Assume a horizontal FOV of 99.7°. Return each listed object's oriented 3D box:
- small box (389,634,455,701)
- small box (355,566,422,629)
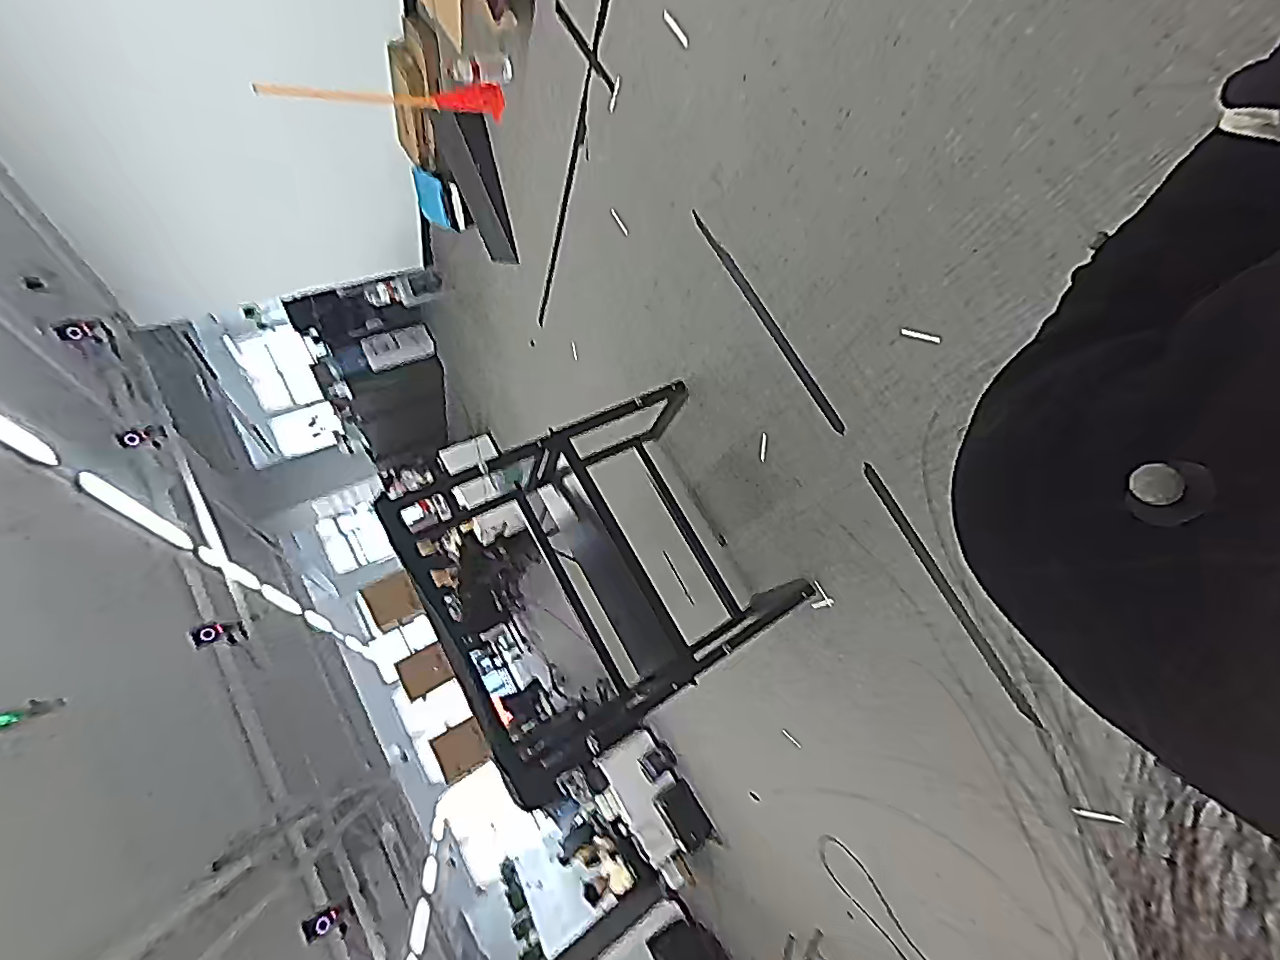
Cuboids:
[{"bbox_3d":[-0.776,0.669,1.941,0.168,0.176,0.179,60,155,7],"label":"small box"},{"bbox_3d":[-0.921,0.432,1.995,0.168,0.176,0.179,60,155,8],"label":"small box"}]
